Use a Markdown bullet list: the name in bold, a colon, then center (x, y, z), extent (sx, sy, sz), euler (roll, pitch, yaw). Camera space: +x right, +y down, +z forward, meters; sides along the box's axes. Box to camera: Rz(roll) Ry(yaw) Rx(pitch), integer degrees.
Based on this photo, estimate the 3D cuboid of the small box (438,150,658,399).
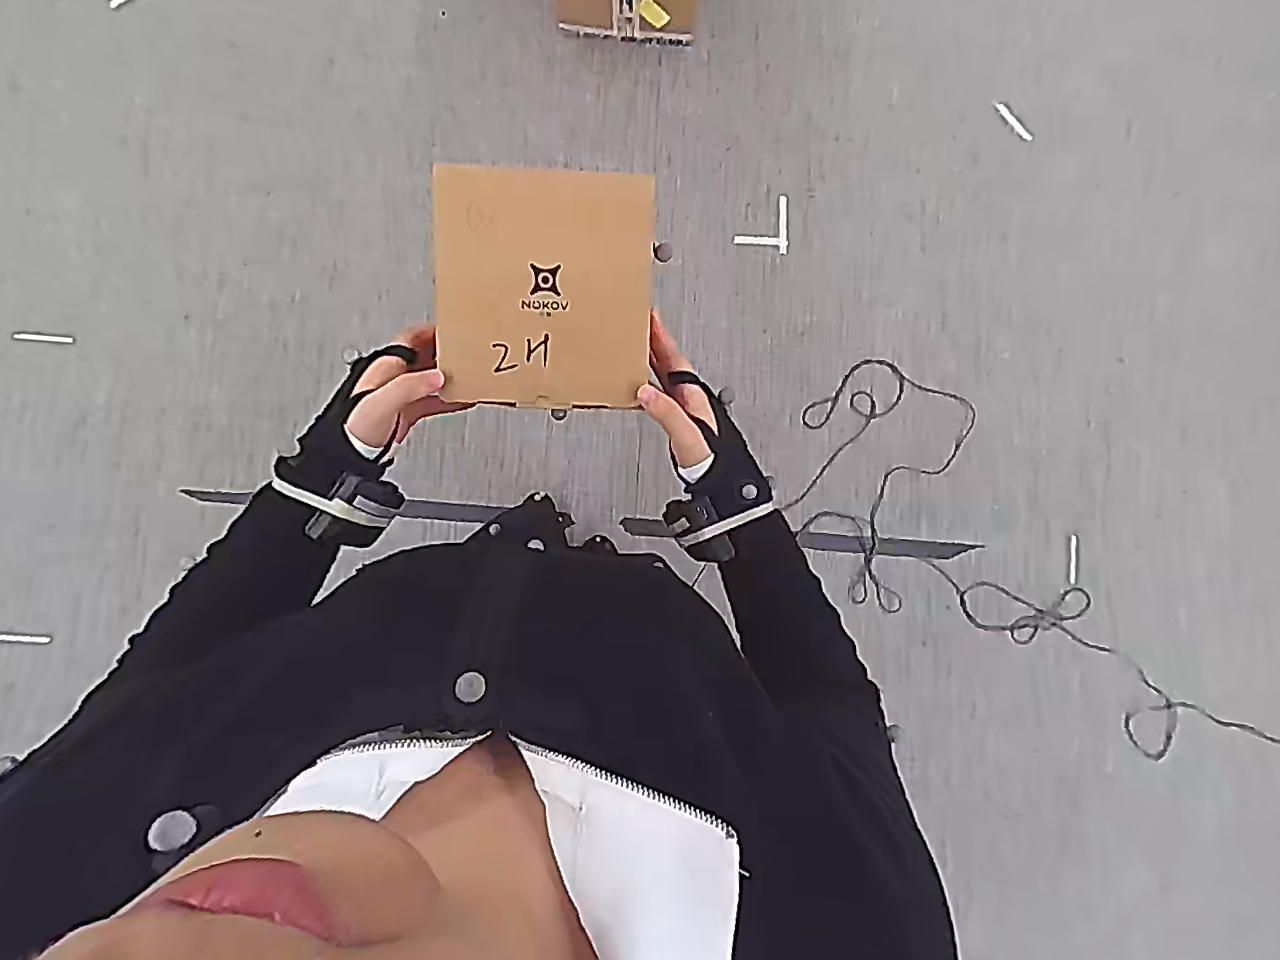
- **small box**: center (-0.076, -0.167, 0.494), extent (0.168, 0.176, 0.179), euler (2, 99, -2)
